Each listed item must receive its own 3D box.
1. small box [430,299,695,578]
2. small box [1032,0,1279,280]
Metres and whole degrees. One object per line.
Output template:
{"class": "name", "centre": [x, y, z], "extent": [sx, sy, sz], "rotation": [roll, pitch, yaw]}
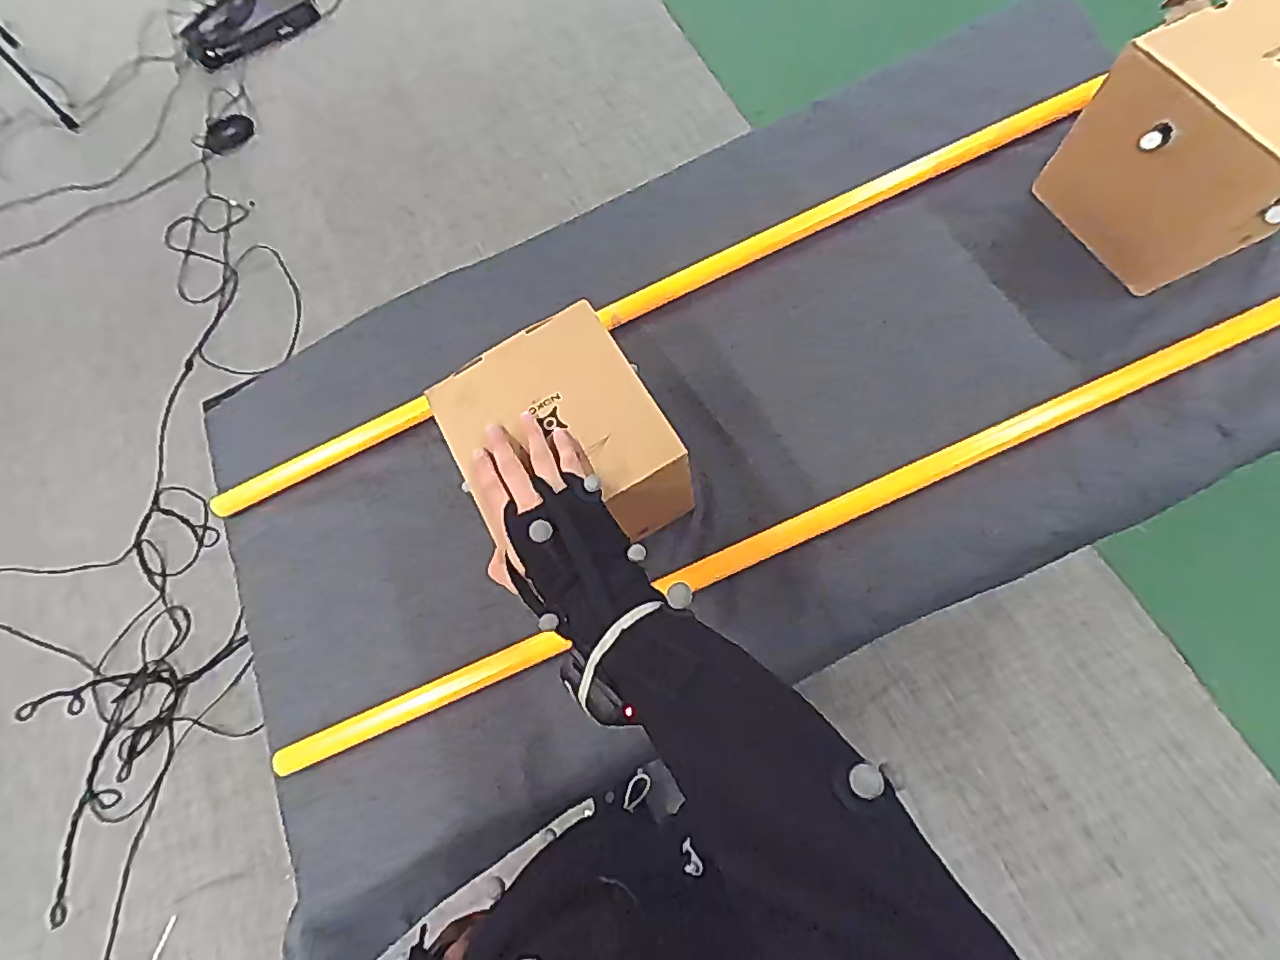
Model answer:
{"class": "small box", "centre": [-0.062, -0.026, 0.518], "extent": [0.168, 0.176, 0.179], "rotation": [-32, 71, -2]}
{"class": "small box", "centre": [0.545, -0.326, 0.527], "extent": [0.168, 0.176, 0.179], "rotation": [-26, 69, 0]}
